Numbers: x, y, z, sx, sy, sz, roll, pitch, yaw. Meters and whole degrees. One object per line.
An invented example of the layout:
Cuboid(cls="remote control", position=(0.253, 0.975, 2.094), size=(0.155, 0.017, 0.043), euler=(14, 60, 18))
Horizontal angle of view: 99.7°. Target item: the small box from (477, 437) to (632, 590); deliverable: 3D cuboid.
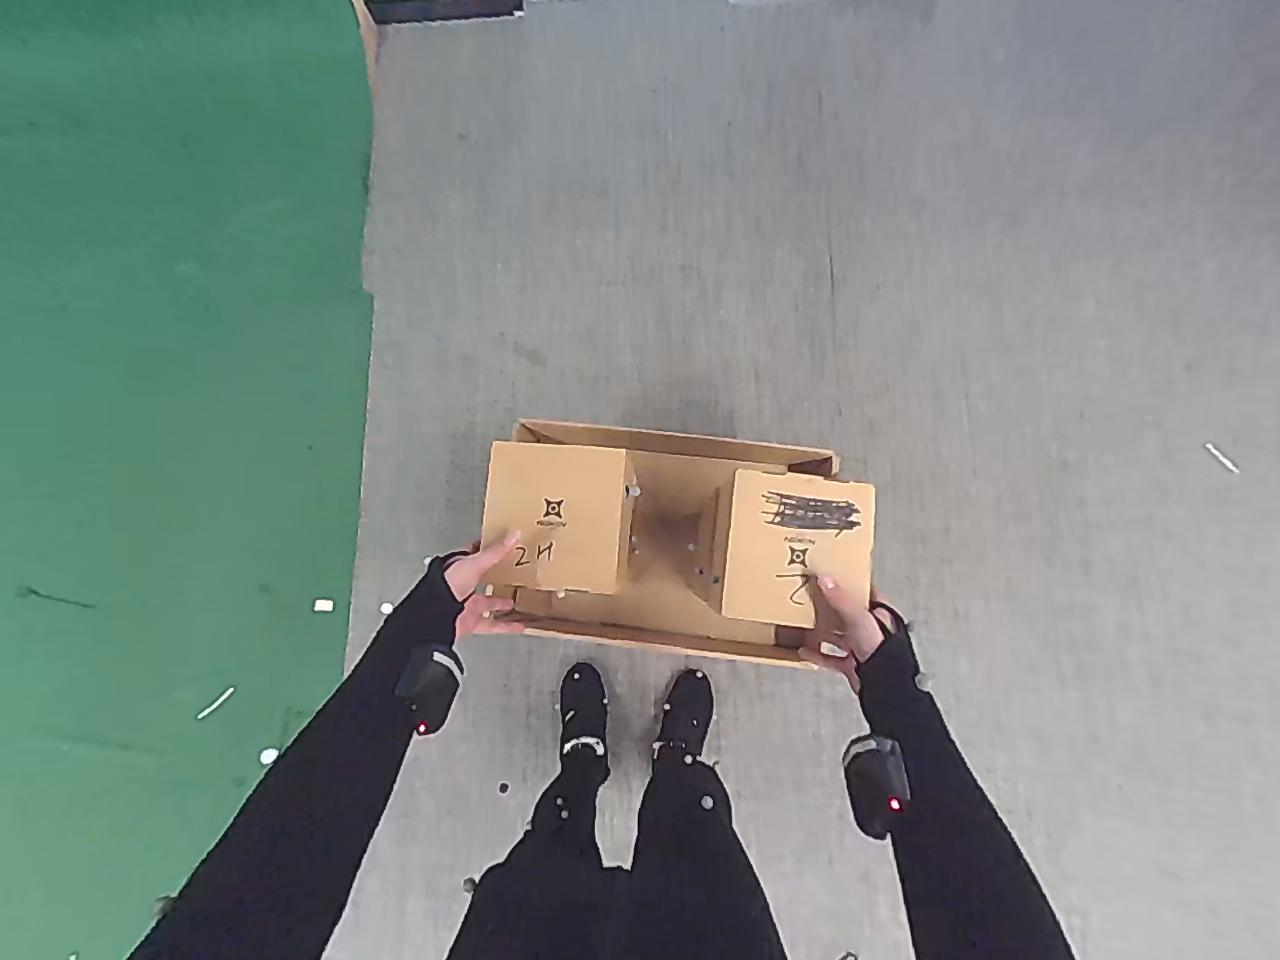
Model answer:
Cuboid(cls="small box", position=(-0.102, 0.051, 0.725), size=(0.168, 0.176, 0.179), euler=(4, 81, 4))

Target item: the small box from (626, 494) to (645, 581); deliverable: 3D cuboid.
Cuboid(cls="small box", position=(-0.090, 0.105, 1.049), size=(0.179, 0.176, 0.168), euler=(9, 81, 4))

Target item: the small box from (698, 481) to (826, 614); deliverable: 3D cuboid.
Cuboid(cls="small box", position=(0.185, 0.109, 0.862), size=(0.168, 0.176, 0.179), euler=(7, 80, 4))
